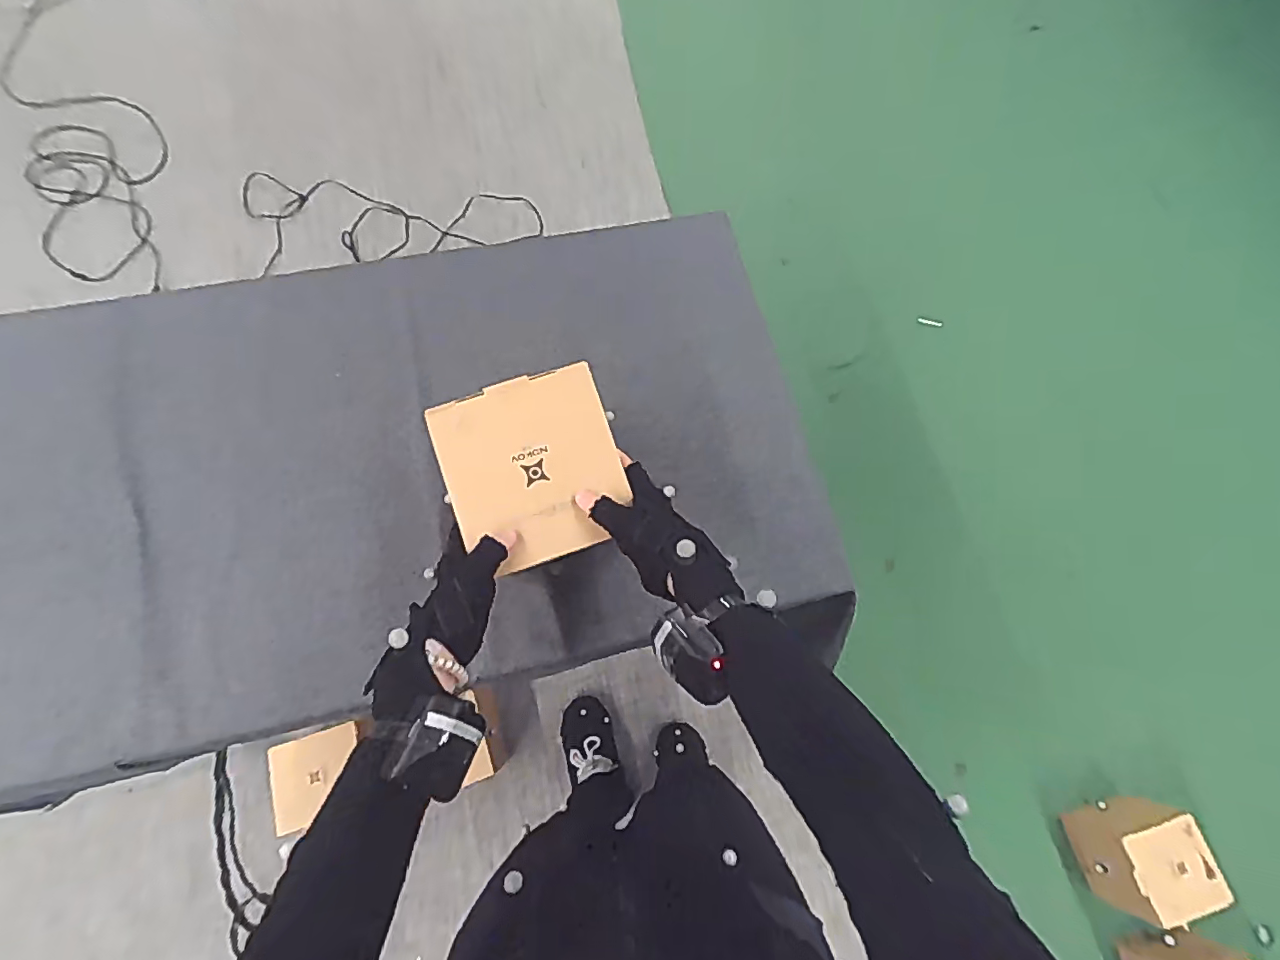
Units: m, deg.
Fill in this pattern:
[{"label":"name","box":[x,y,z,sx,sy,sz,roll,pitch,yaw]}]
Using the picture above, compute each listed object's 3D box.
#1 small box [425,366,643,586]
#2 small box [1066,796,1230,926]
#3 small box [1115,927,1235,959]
[{"label":"small box","box":[-0.106,0.003,0.585,0.168,0.176,0.179,-18,85,-6]},{"label":"small box","box":[1.081,0.815,1.175,0.179,0.176,0.168,-13,73,-6]},{"label":"small box","box":[1.138,1.064,1.098,0.168,0.176,0.179,-9,73,-6]}]
